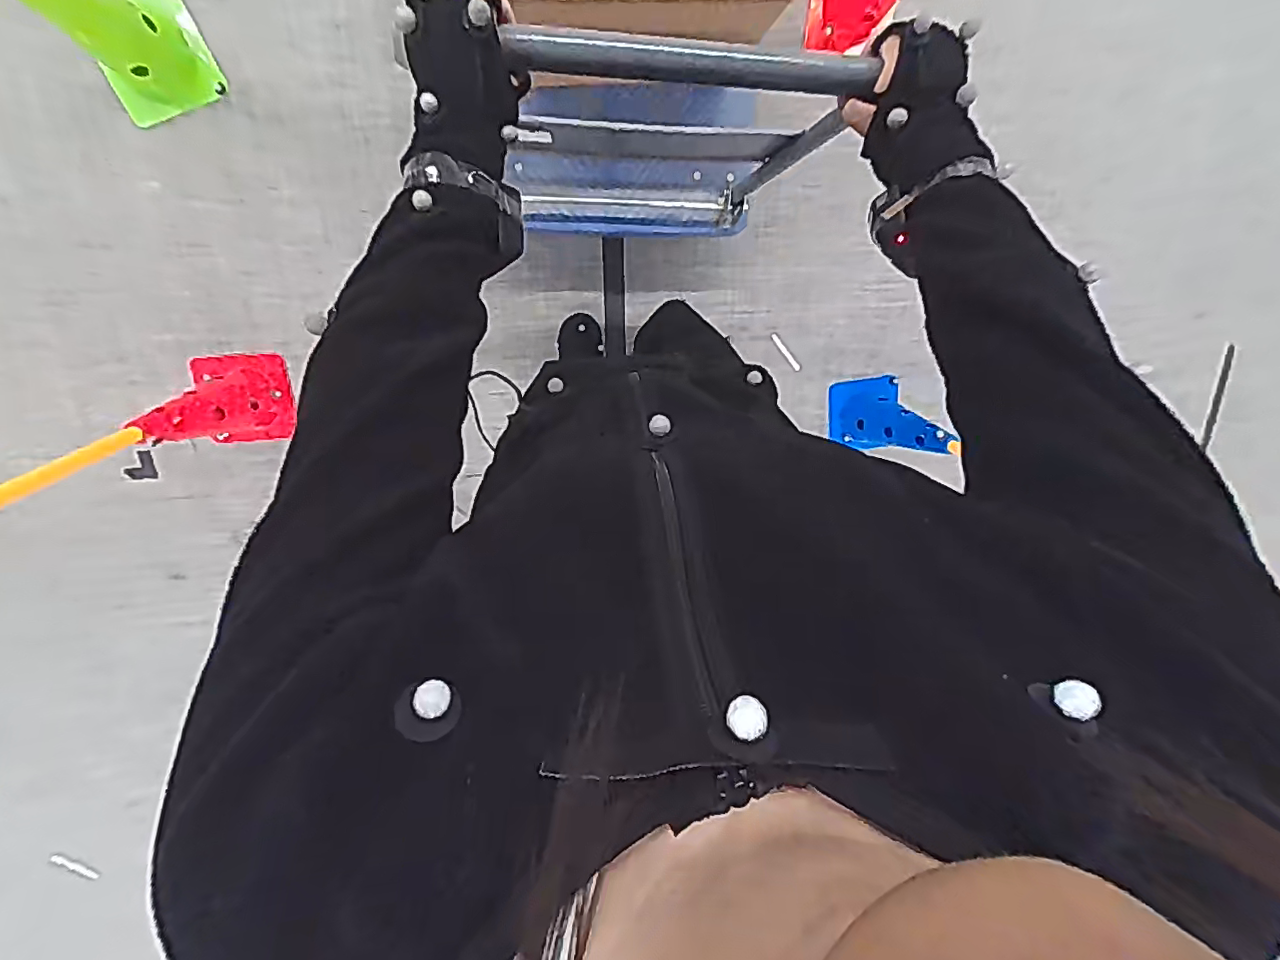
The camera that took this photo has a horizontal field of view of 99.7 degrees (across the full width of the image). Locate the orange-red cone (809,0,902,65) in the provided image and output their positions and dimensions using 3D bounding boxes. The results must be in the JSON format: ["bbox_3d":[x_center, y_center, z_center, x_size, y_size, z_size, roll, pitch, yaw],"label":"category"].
[{"bbox_3d":[0.503,-0.986,1.027,0.199,0.360,0.198,2,108,-10],"label":"orange-red cone"}]

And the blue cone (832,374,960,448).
[{"bbox_3d":[0.646,-0.142,1.337,0.193,0.380,0.192,-8,108,-7],"label":"blue cone"}]
